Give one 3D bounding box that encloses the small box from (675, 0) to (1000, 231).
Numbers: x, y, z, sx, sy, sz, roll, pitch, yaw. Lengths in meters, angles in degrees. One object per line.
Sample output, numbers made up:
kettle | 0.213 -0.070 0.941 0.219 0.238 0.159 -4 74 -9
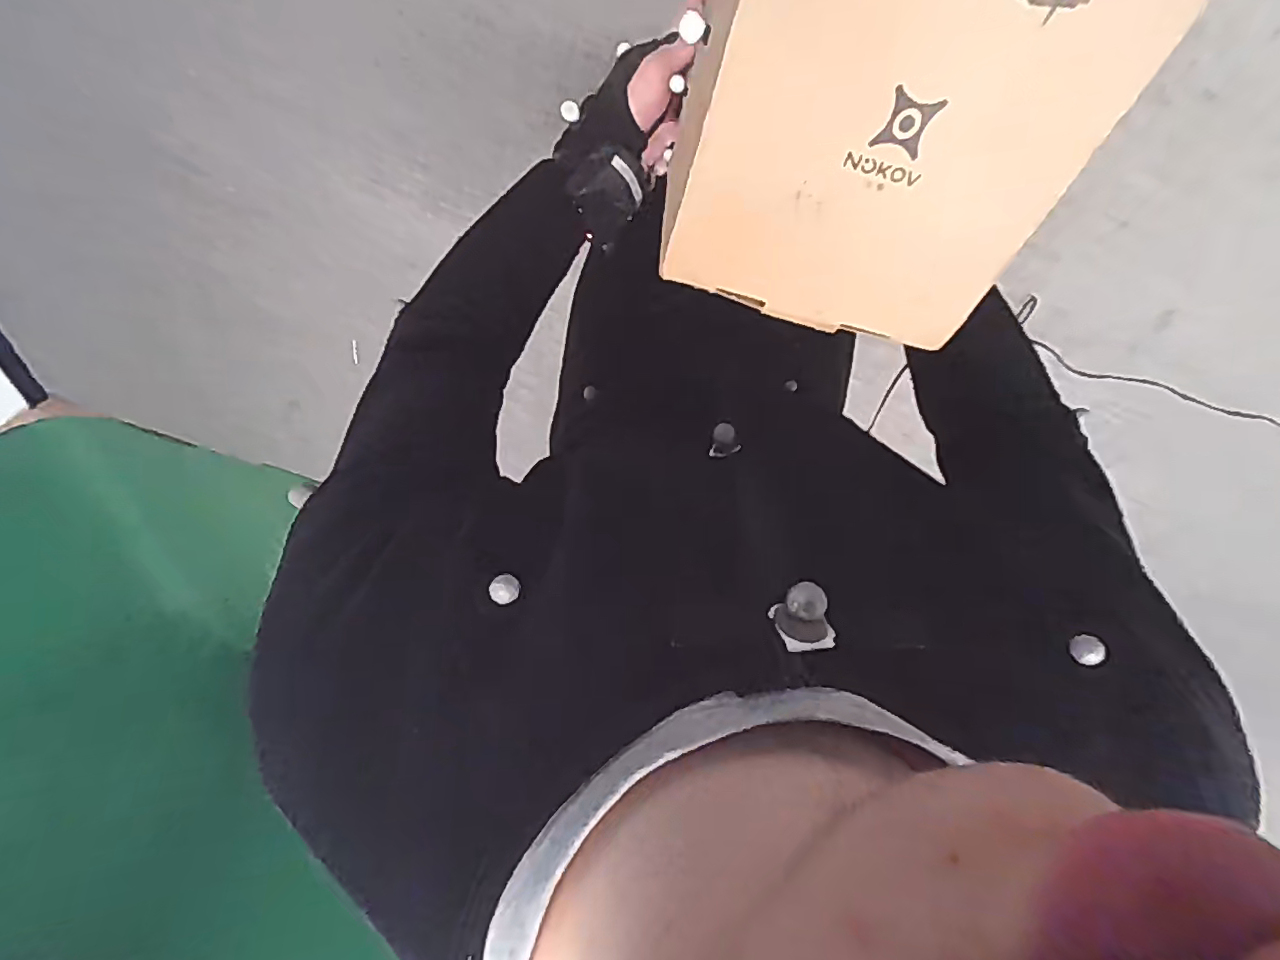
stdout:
small box | 0.129 -0.322 0.404 0.168 0.176 0.179 11 137 -5
